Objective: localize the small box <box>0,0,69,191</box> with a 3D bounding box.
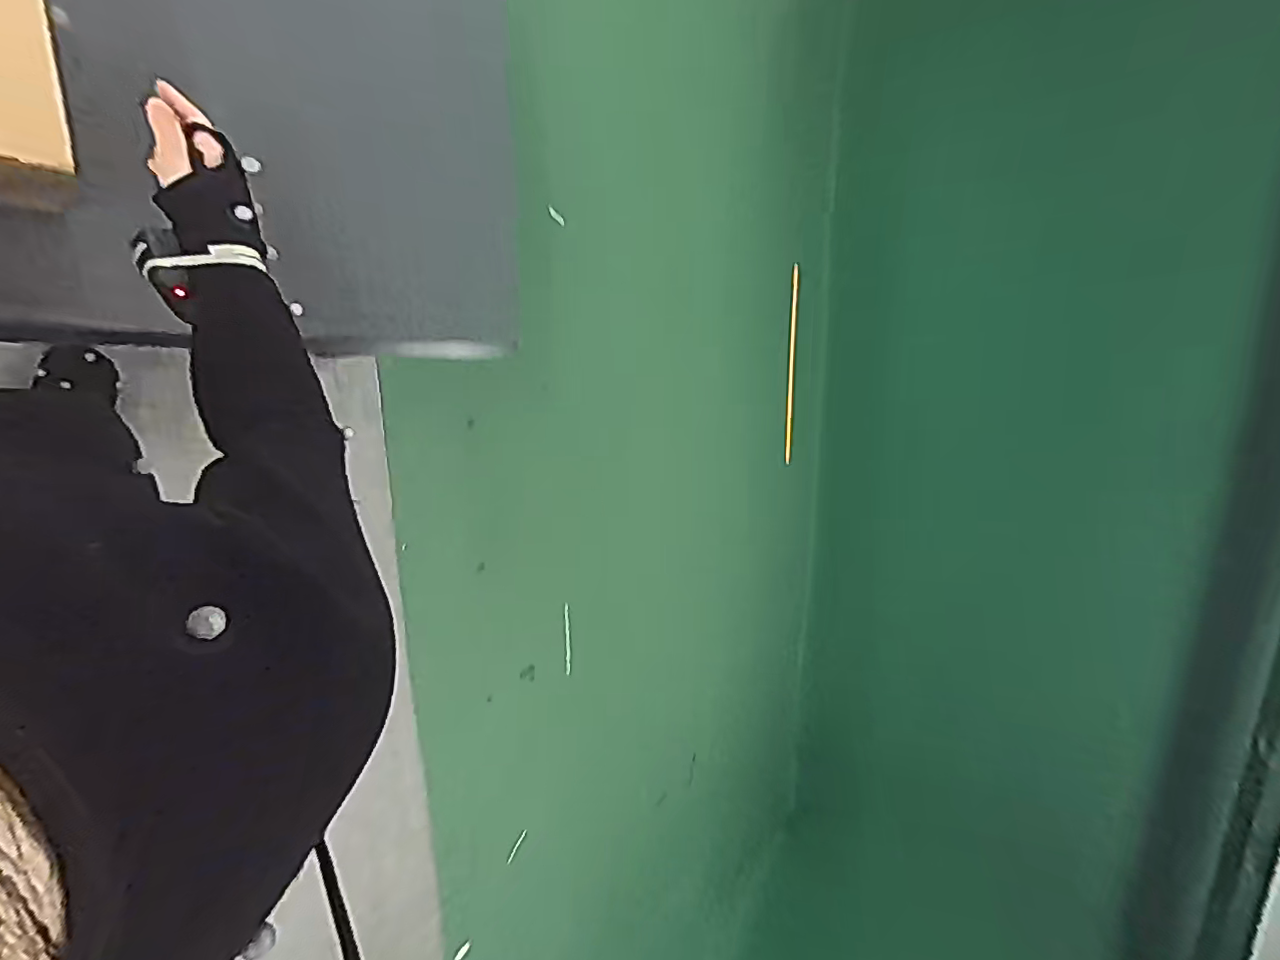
[{"bbox_3d":[-0.556,-0.338,0.393,0.168,0.176,0.179,-13,107,-49],"label":"small box"}]
